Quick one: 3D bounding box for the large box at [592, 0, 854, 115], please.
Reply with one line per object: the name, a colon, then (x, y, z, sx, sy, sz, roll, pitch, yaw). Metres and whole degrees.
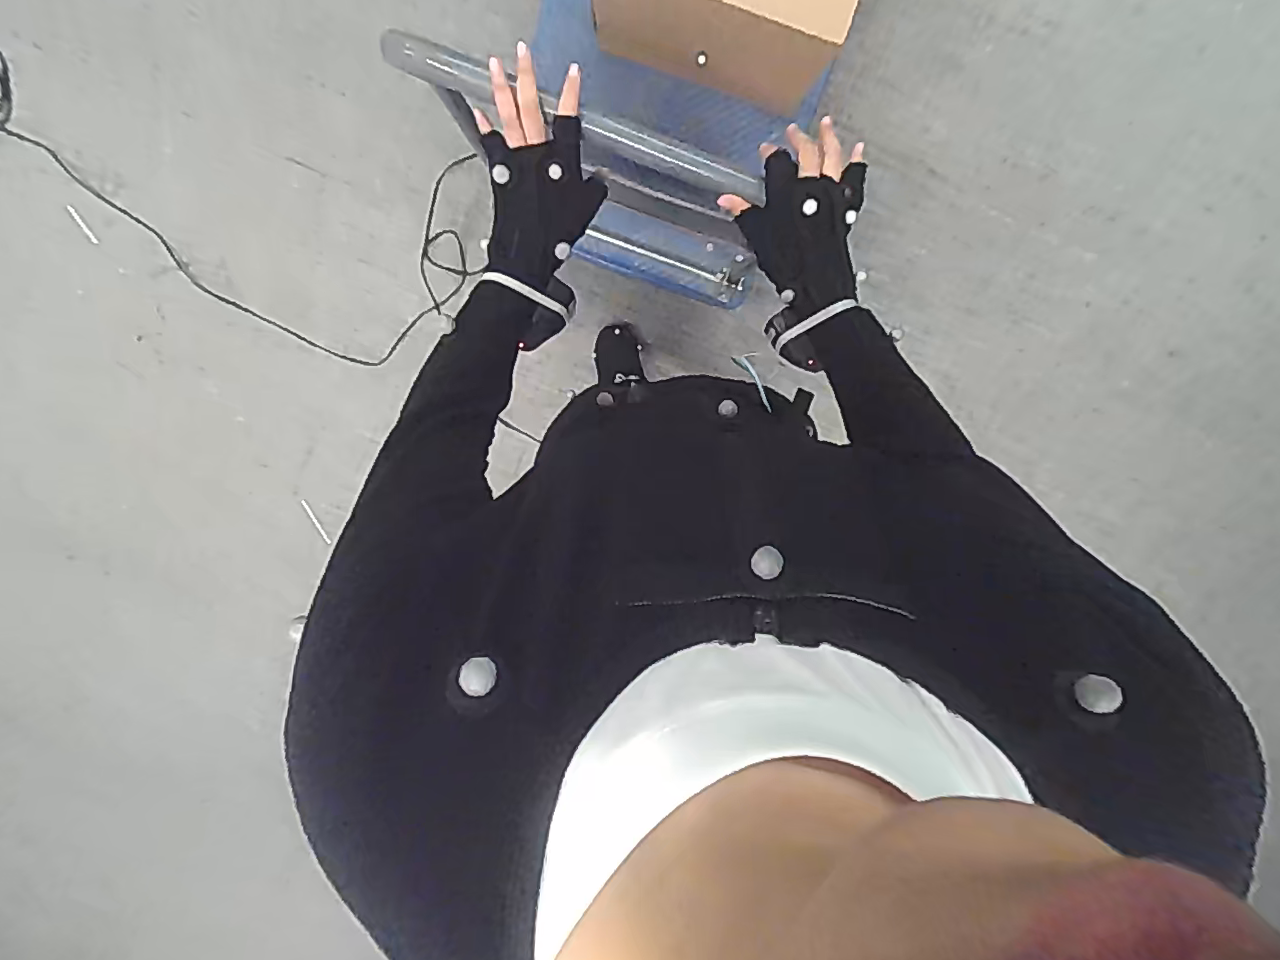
large box: (0.154, -0.888, 0.905, 0.408, 0.320, 0.320, 17, 105, -5)
